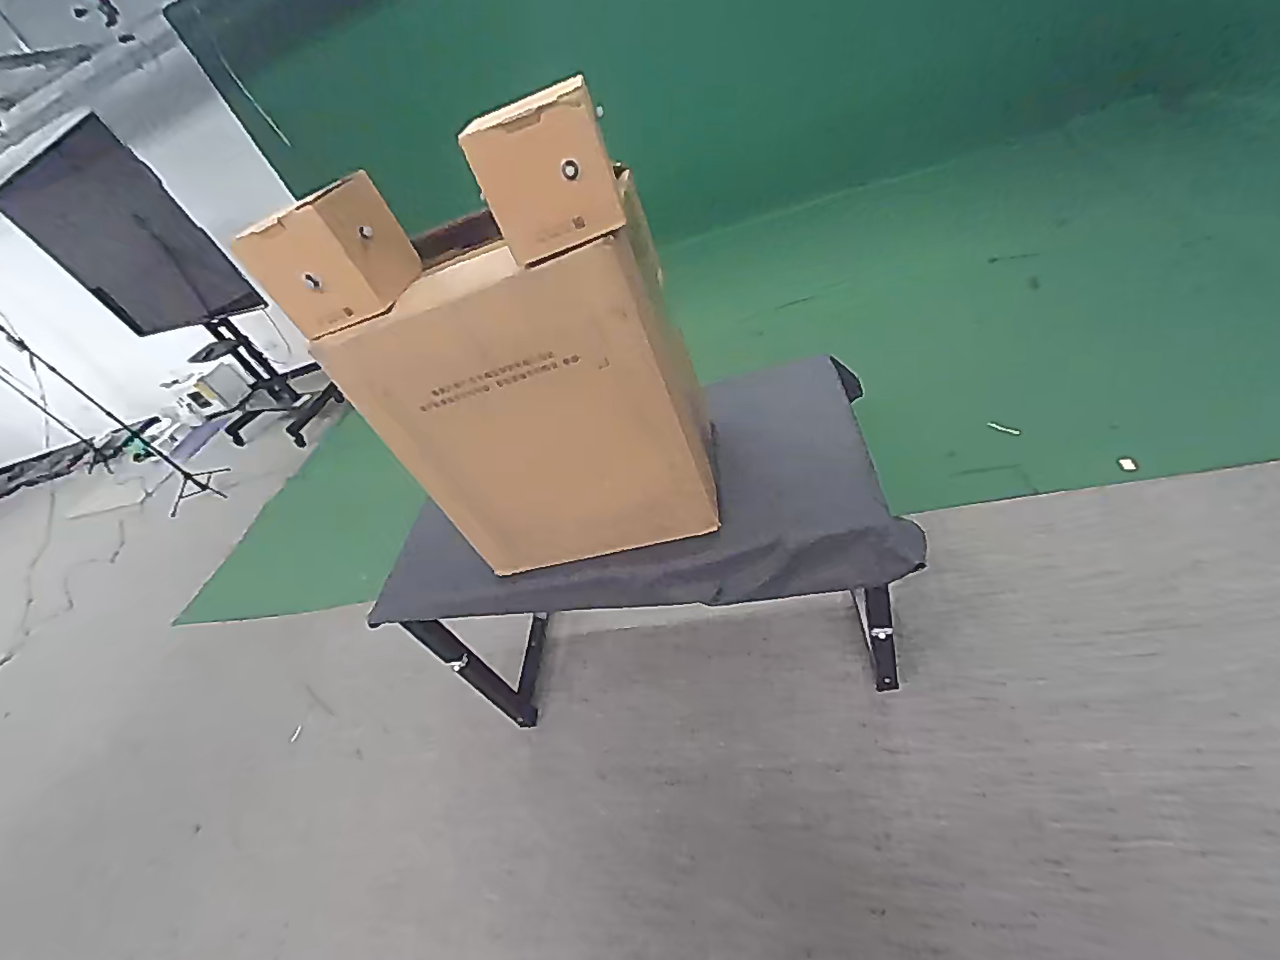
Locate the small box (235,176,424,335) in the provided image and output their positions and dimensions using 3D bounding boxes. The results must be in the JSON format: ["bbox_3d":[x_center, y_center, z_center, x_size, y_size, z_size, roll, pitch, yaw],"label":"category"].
[{"bbox_3d":[-0.485,-0.355,0.878,0.168,0.176,0.179,-13,41,16],"label":"small box"}]

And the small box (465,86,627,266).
[{"bbox_3d":[-0.122,-0.427,0.770,0.168,0.176,0.179,-16,39,7],"label":"small box"}]
